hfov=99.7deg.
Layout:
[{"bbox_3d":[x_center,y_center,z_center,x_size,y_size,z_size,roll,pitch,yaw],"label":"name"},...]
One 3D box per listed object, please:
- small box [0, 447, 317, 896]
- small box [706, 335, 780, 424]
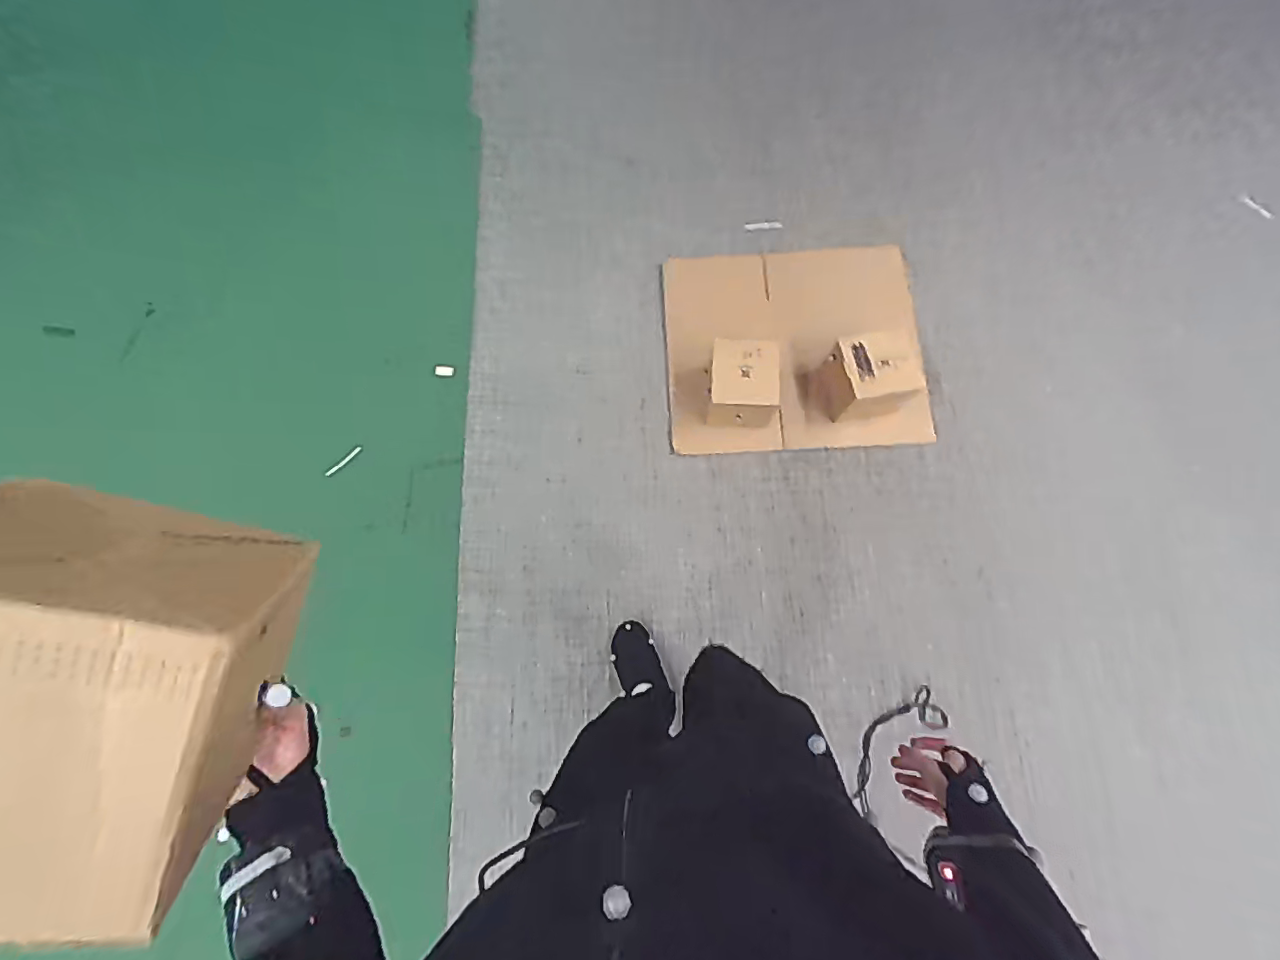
[{"bbox_3d":[-0.312,0.093,0.312,0.179,0.168,0.176,20,93,-21],"label":"small box"},{"bbox_3d":[0.263,-0.254,1.400,0.168,0.176,0.179,3,76,3],"label":"small box"}]
